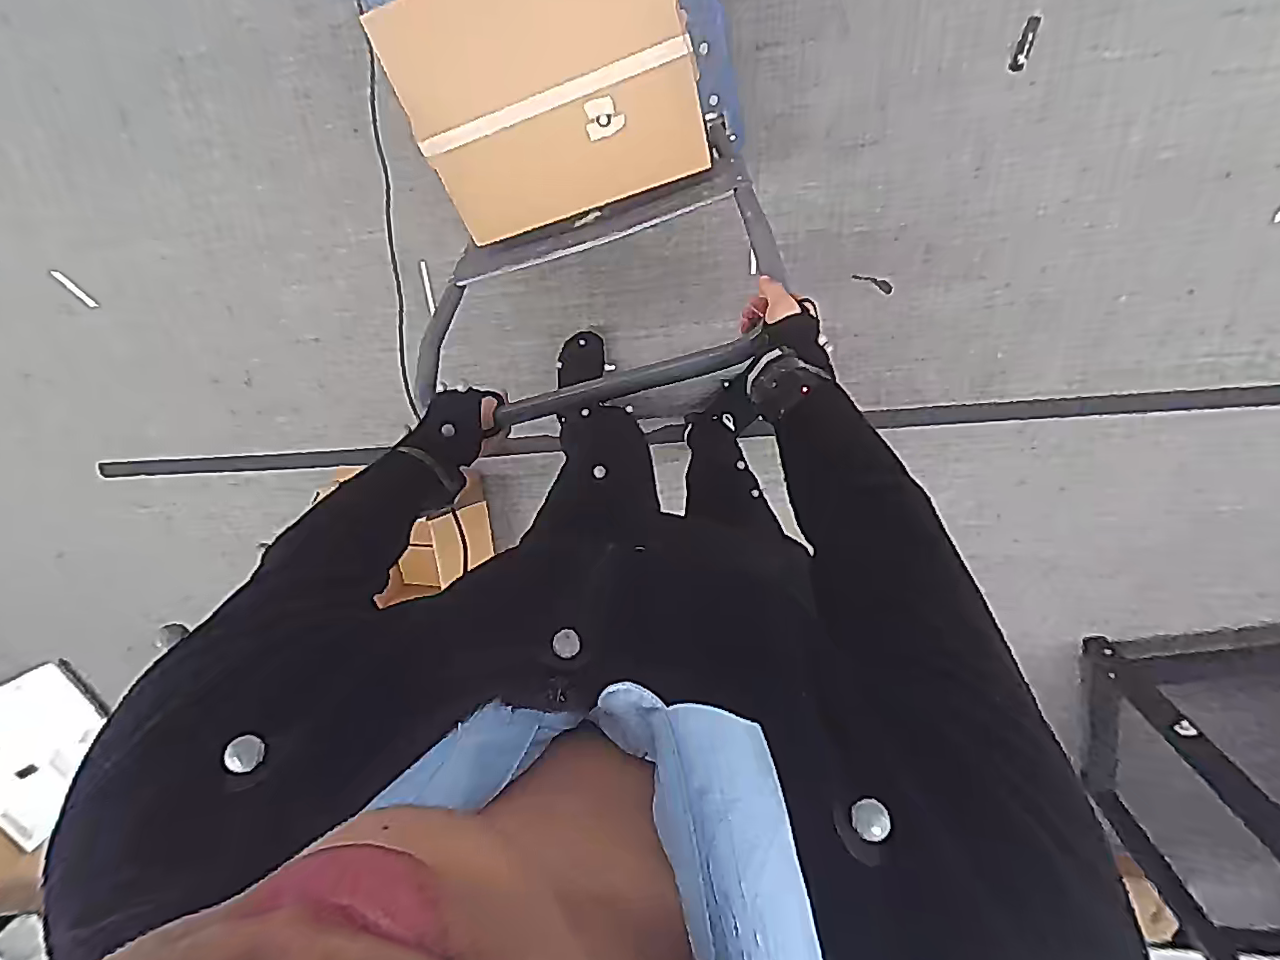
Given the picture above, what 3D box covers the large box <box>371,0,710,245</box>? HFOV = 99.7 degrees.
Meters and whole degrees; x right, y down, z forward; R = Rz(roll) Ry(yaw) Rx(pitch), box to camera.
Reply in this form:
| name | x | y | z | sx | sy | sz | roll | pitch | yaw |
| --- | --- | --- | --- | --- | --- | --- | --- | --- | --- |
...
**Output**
| name | x | y | z | sx | sy | sz | roll | pitch | yaw |
| --- | --- | --- | --- | --- | --- | --- | --- | --- | --- |
| large box | -0.129 | -0.648 | 0.880 | 0.408 | 0.320 | 0.320 | -14 | 133 | 12 |
